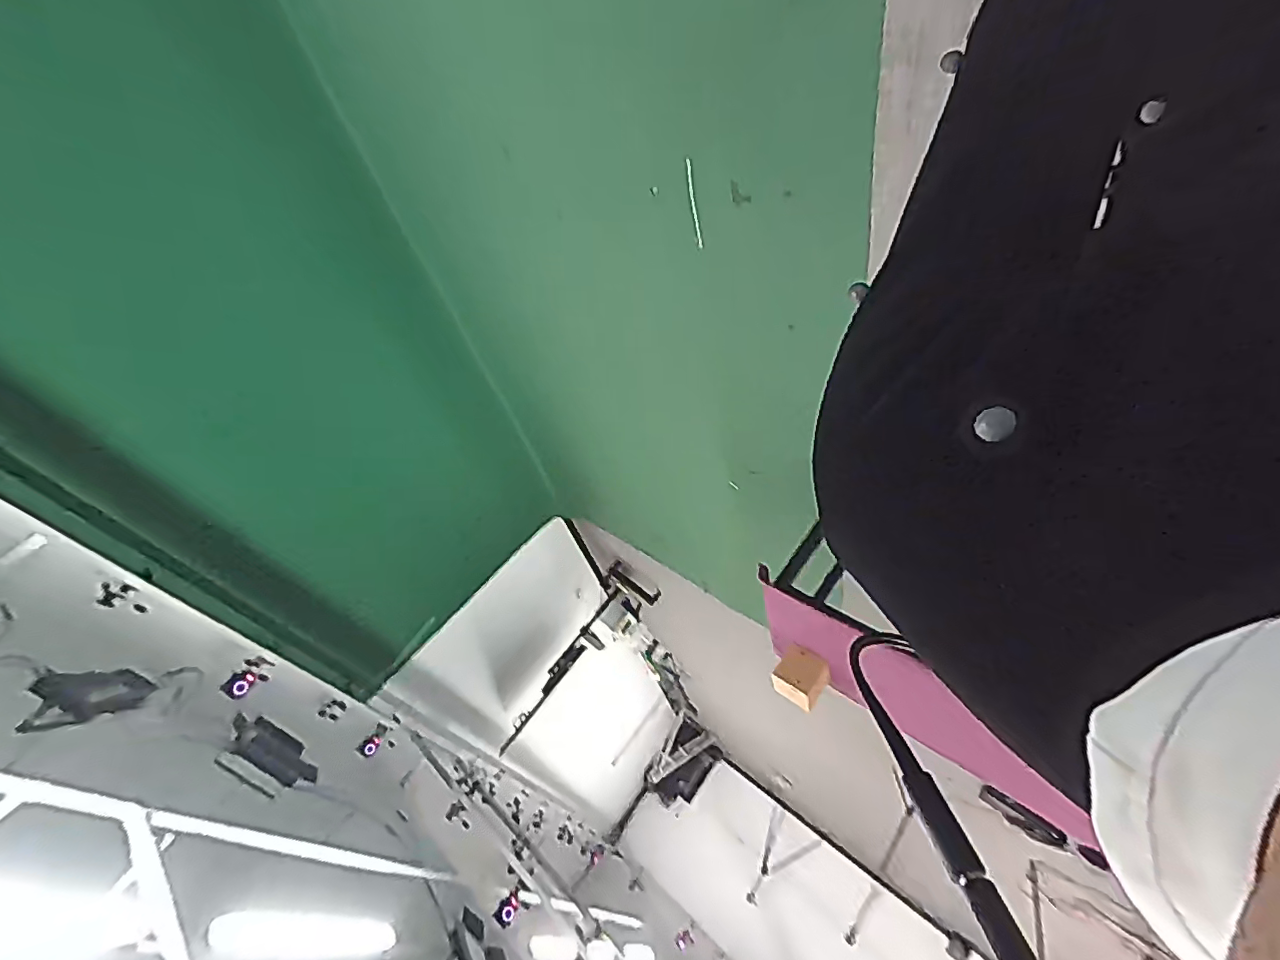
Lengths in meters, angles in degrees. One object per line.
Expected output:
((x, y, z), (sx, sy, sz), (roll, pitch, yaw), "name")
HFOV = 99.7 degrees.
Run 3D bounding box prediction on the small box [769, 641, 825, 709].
((0.659, 0.809, 2.251), (0.168, 0.176, 0.179), (24, 150, 36), "small box")
